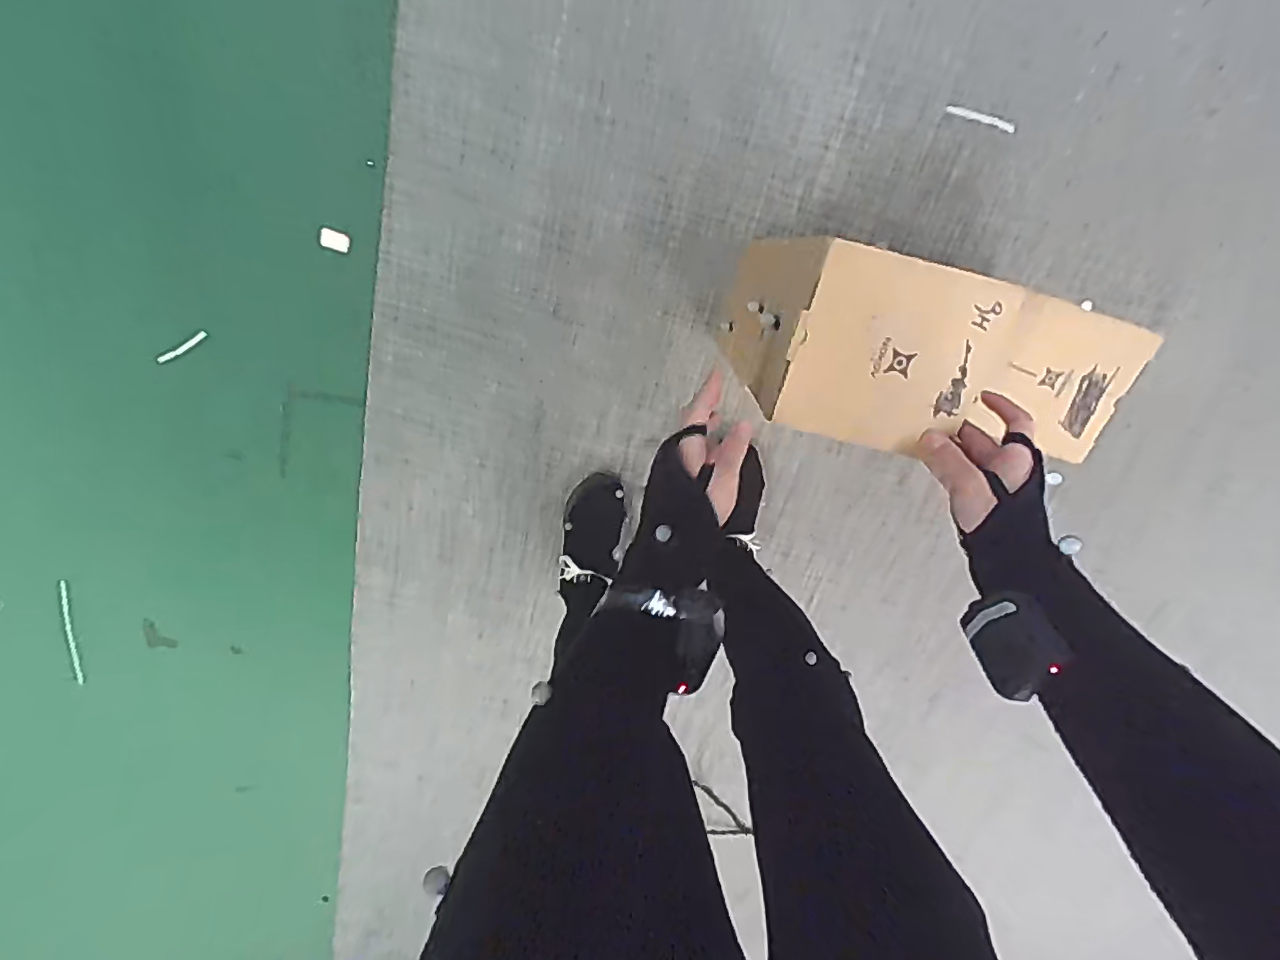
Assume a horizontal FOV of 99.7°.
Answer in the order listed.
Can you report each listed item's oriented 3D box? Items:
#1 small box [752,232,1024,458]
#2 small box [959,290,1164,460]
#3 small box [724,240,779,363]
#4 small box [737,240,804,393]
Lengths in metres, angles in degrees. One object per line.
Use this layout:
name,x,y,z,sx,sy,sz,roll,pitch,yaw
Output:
small box,0.227,-0.144,0.556,0.179,0.176,0.168,13,113,-3
small box,0.497,-0.150,0.712,0.179,0.176,0.168,17,112,-3
small box,0.239,-0.266,0.857,0.168,0.176,0.179,16,113,-4
small box,0.232,-0.202,0.709,0.168,0.176,0.179,14,113,-2
